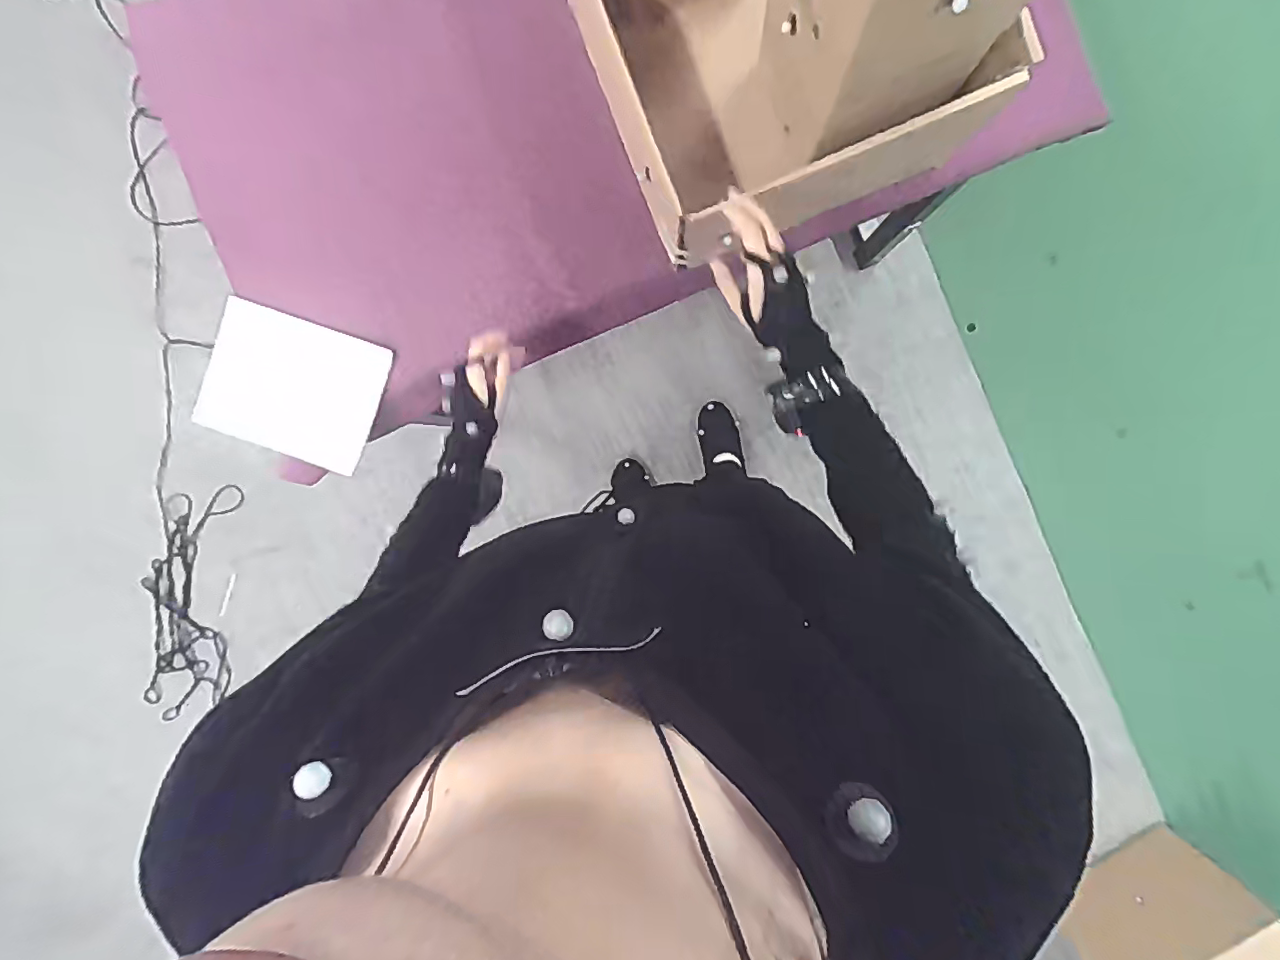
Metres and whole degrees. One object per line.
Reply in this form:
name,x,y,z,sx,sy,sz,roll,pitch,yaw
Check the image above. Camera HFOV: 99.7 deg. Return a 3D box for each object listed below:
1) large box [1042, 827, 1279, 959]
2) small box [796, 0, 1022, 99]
large box,1.342,1.180,1.333,0.408,0.320,0.320,-37,91,4
small box,0.234,-0.469,0.442,0.179,0.176,0.168,-20,91,7
